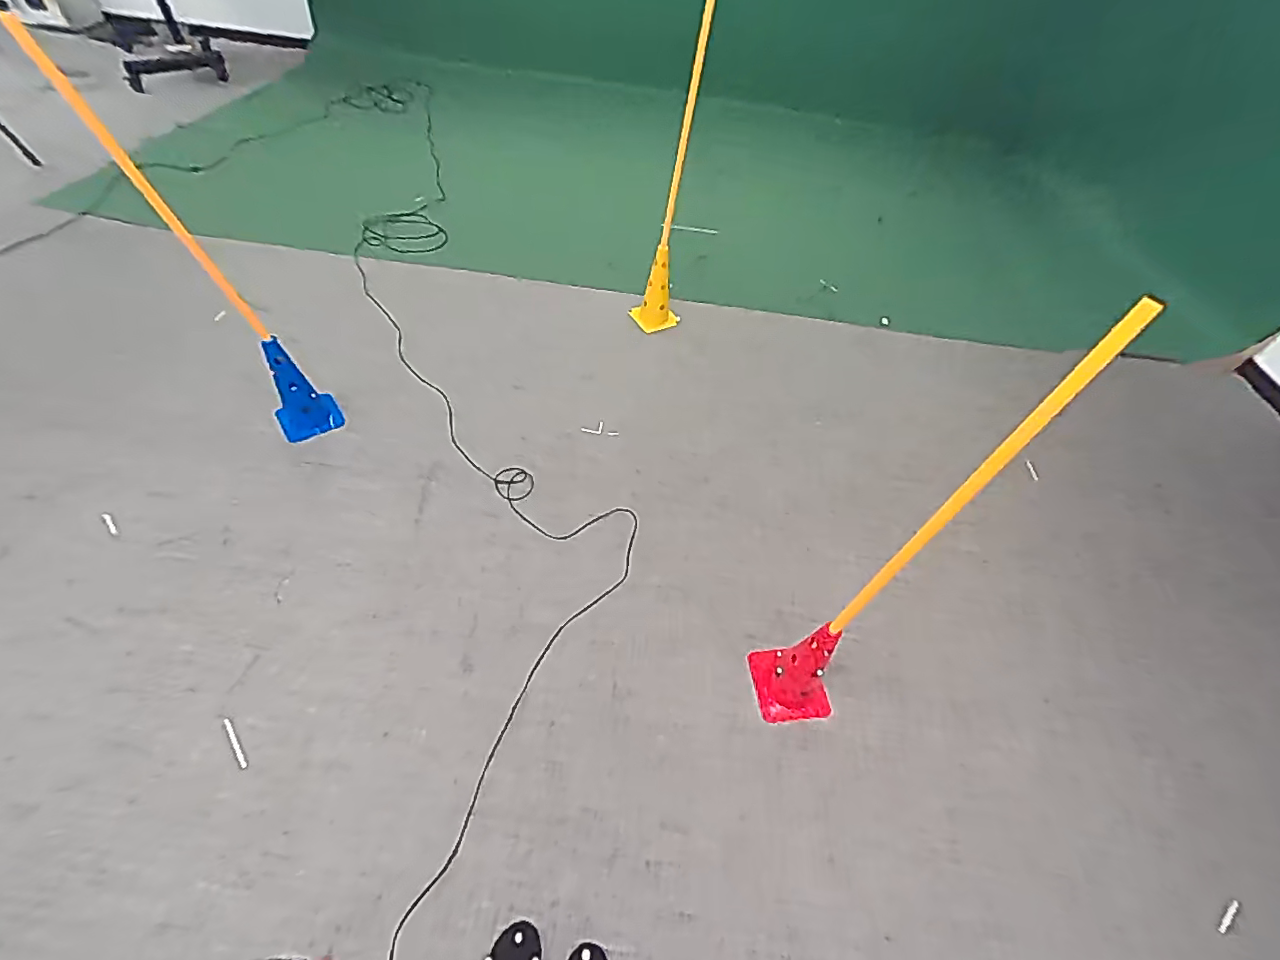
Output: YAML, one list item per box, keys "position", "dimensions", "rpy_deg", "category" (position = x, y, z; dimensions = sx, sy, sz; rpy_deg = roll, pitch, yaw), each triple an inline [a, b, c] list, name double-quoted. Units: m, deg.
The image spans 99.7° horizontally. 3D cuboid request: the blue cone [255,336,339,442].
- position: [-1.206, -0.324, 1.850]
  dimensions: [0.193, 0.380, 0.192]
  rpy_deg: [-30, 61, -25]
  category: "blue cone"
